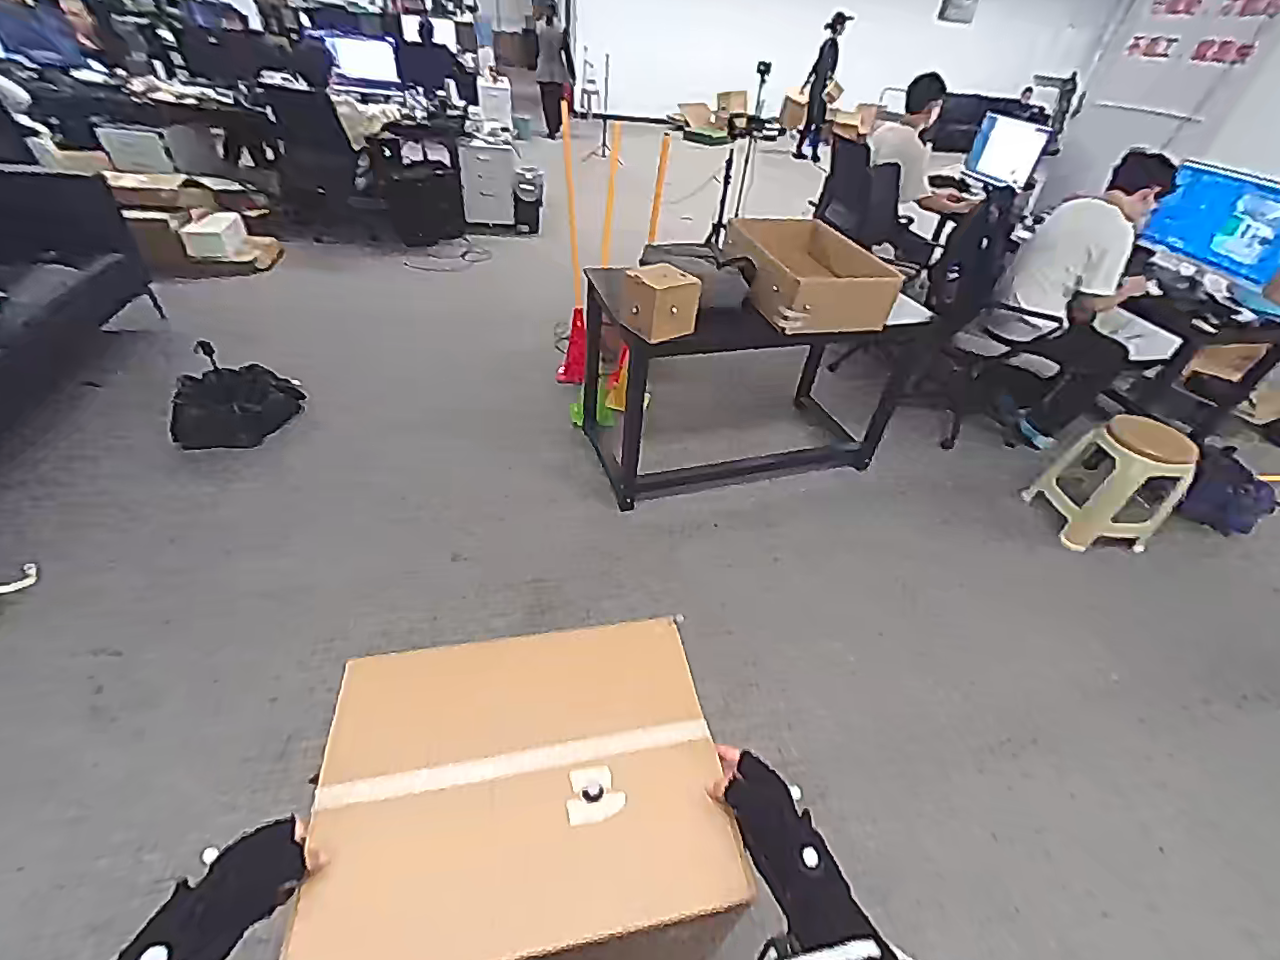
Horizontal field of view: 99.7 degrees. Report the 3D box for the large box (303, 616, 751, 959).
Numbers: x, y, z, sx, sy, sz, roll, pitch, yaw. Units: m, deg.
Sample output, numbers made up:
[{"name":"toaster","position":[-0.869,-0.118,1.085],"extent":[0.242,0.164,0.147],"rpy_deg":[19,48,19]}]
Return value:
[{"name":"large box","position":[-0.127,0.414,0.678],"extent":[0.408,0.320,0.320],"rpy_deg":[-5,41,-11]}]
